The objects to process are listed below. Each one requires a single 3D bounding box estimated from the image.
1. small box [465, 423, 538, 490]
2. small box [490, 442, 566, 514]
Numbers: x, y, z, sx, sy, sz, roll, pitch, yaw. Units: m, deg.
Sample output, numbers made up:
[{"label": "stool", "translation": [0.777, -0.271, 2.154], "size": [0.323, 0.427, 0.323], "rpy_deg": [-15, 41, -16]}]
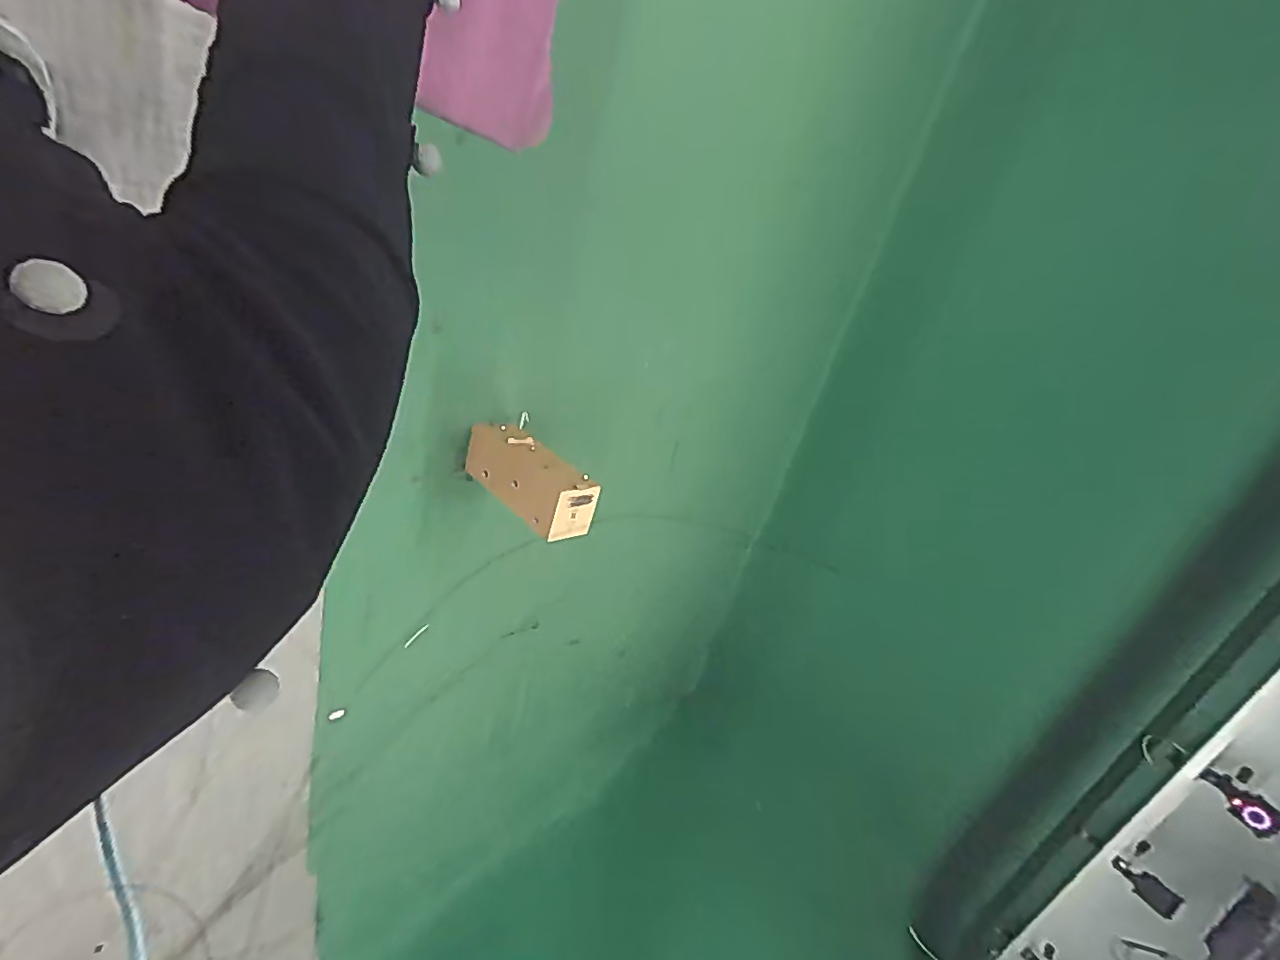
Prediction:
[{"label": "small box", "translation": [-0.483, -0.086, 1.872], "size": [0.168, 0.176, 0.179], "rpy_deg": [-9, 124, -49]}, {"label": "small box", "translation": [-0.373, -0.011, 1.778], "size": [0.168, 0.176, 0.179], "rpy_deg": [-8, 122, -49]}]
